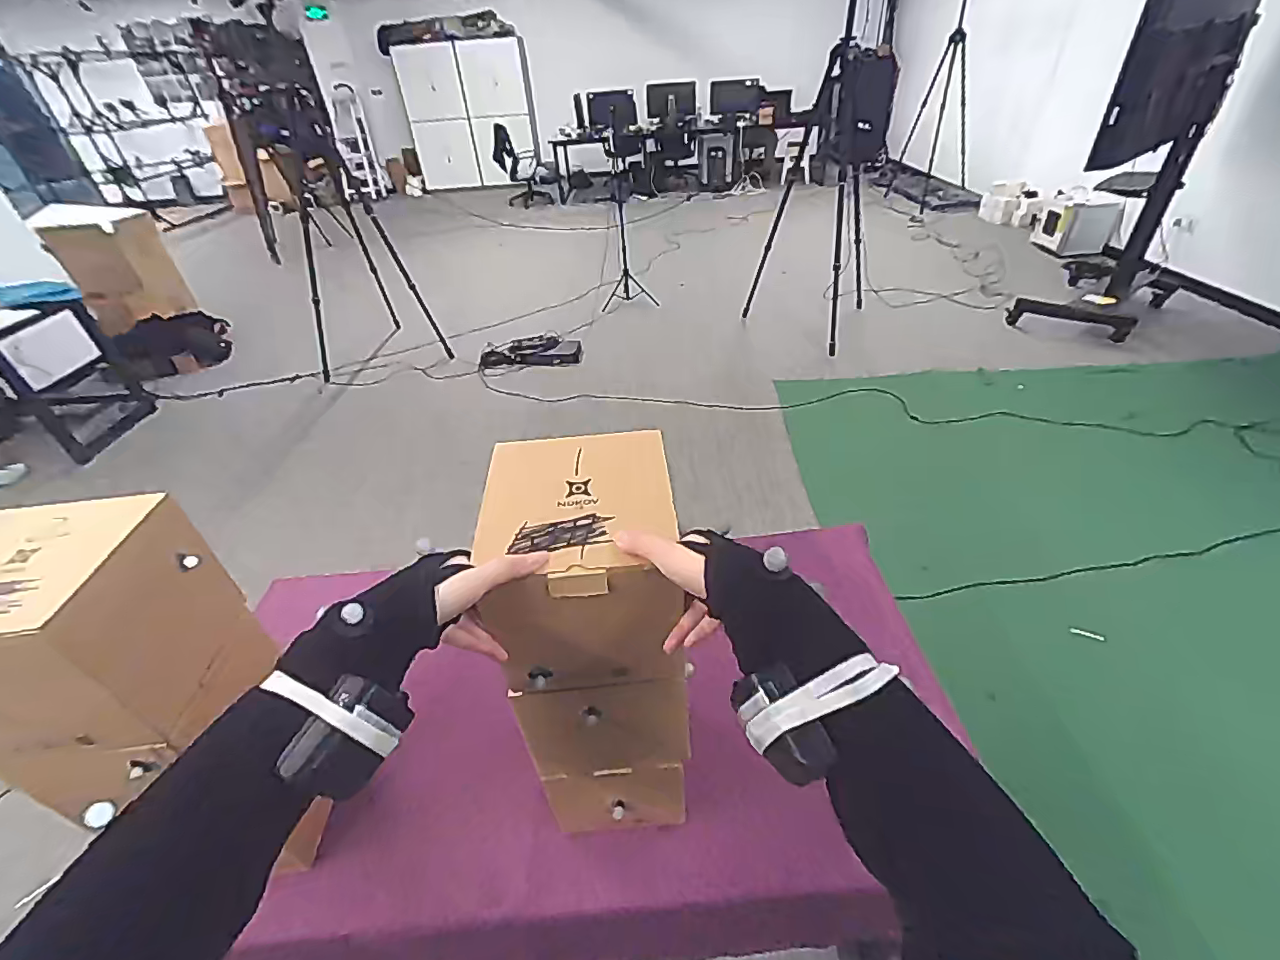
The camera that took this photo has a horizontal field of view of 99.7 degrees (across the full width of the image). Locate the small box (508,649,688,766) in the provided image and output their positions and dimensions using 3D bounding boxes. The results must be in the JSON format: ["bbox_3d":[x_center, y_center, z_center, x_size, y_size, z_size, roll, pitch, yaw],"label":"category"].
[{"bbox_3d":[-0.041,0.213,0.632,0.179,0.176,0.168,-5,38,-1],"label":"small box"}]

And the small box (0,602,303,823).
[{"bbox_3d":[-0.533,0.266,0.619,0.179,0.176,0.168,-5,38,-4],"label":"small box"}]

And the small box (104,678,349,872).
[{"bbox_3d":[-0.520,0.393,0.718,0.168,0.176,0.179,-5,38,-2],"label":"small box"}]

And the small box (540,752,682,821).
[{"bbox_3d":[-0.033,0.342,0.736,0.168,0.176,0.179,-4,39,0],"label":"small box"}]

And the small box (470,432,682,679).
[{"bbox_3d":[-0.049,0.076,0.523,0.168,0.176,0.179,-4,40,-1],"label":"small box"}]
